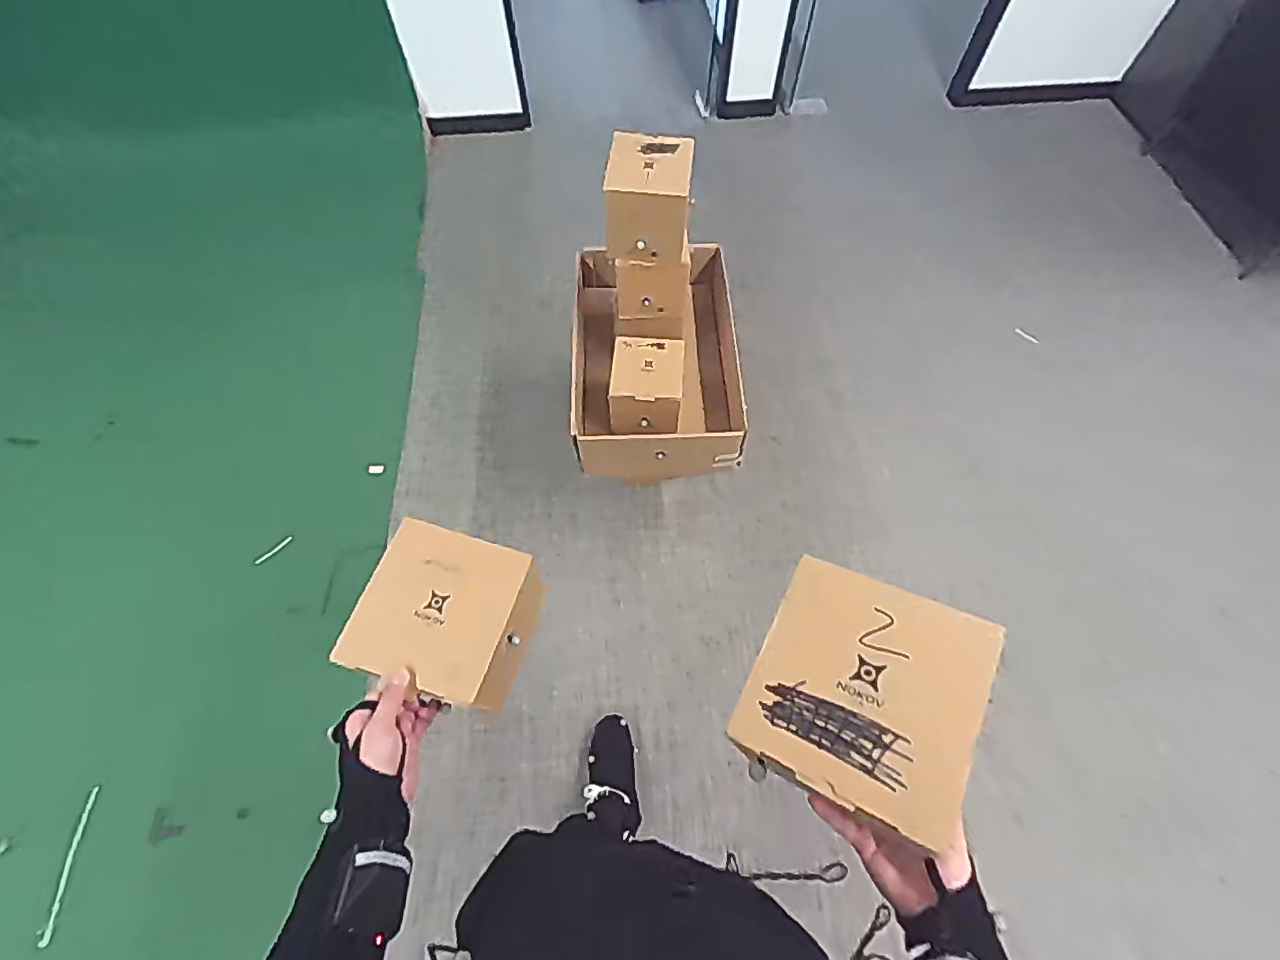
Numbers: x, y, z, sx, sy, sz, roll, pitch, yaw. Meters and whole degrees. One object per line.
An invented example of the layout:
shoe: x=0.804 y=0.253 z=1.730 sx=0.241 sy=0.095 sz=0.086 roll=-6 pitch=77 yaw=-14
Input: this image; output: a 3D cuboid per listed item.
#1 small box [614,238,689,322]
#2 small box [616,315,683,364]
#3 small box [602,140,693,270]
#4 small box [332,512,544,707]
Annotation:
small box: x=0.021 y=-0.499 z=1.286 sx=0.168 sy=0.176 sz=0.179 roll=-3 pitch=64 yaw=-2
small box: x=0.021 y=-0.429 z=1.432 sx=0.168 sy=0.176 sz=0.179 roll=-3 pitch=64 yaw=-1
small box: x=0.016 y=-0.577 z=1.141 sx=0.168 sy=0.176 sz=0.179 roll=6 pitch=65 yaw=3
small box: x=-0.231 y=0.170 z=0.677 sx=0.168 sy=0.176 sz=0.179 roll=18 pitch=64 yaw=6
